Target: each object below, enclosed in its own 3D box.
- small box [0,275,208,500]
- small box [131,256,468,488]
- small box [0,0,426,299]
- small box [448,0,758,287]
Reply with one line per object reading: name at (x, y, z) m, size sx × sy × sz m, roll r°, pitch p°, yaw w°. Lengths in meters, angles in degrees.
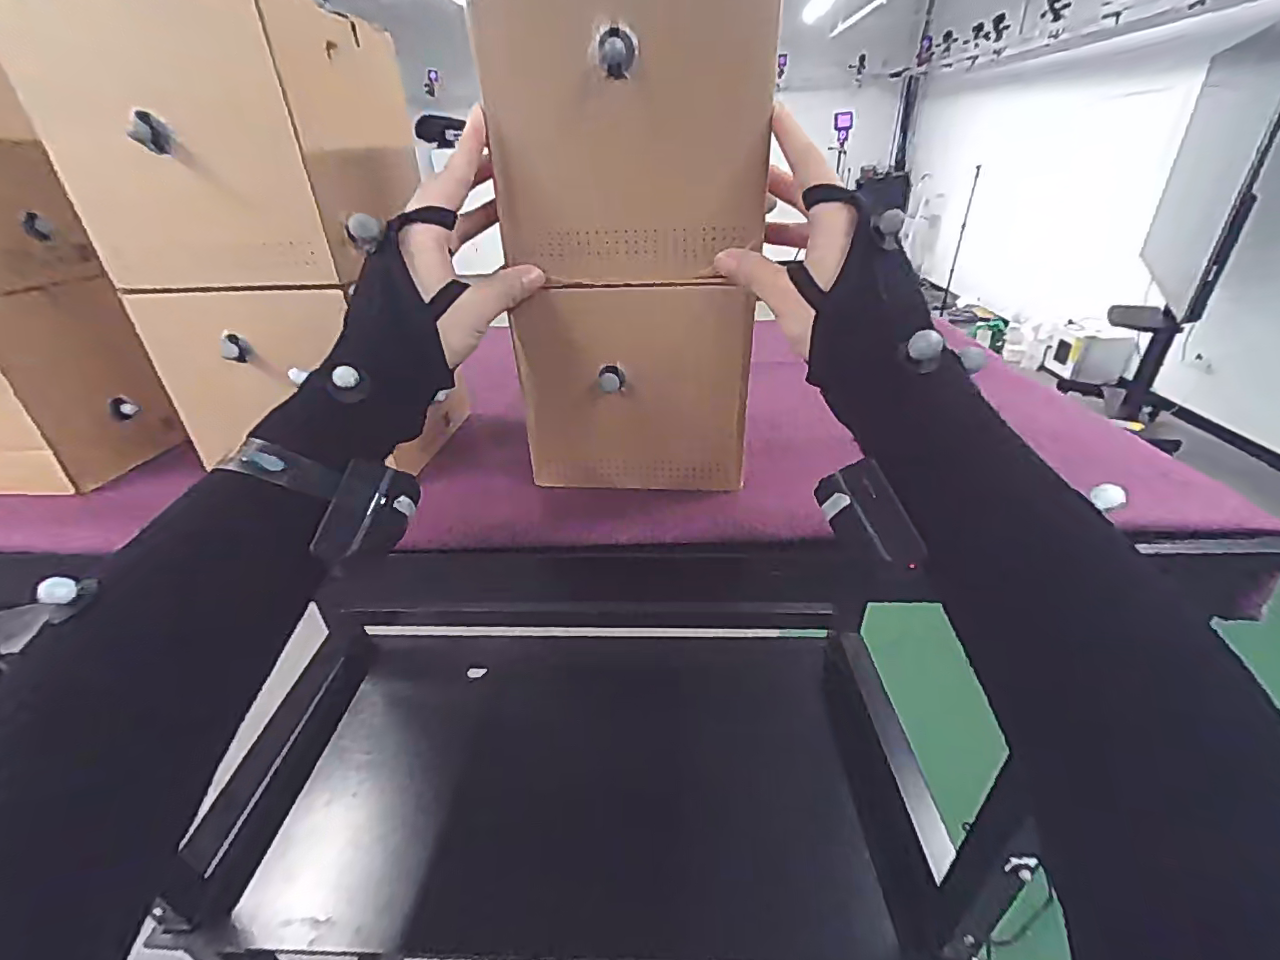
small box at (-0.567, -0.092, 0.516) m, size 0.179 × 0.176 × 0.168 m, roll 1°, pitch 31°, yaw 4°
small box at (-0.285, -0.103, 0.502) m, size 0.179 × 0.176 × 0.168 m, roll 0°, pitch 31°, yaw 6°
small box at (-0.293, -0.243, 0.418) m, size 0.179 × 0.176 × 0.168 m, roll -1°, pitch 30°, yaw 6°
small box at (-0.012, -0.245, 0.394) m, size 0.179 × 0.176 × 0.168 m, roll -1°, pitch 34°, yaw 4°
